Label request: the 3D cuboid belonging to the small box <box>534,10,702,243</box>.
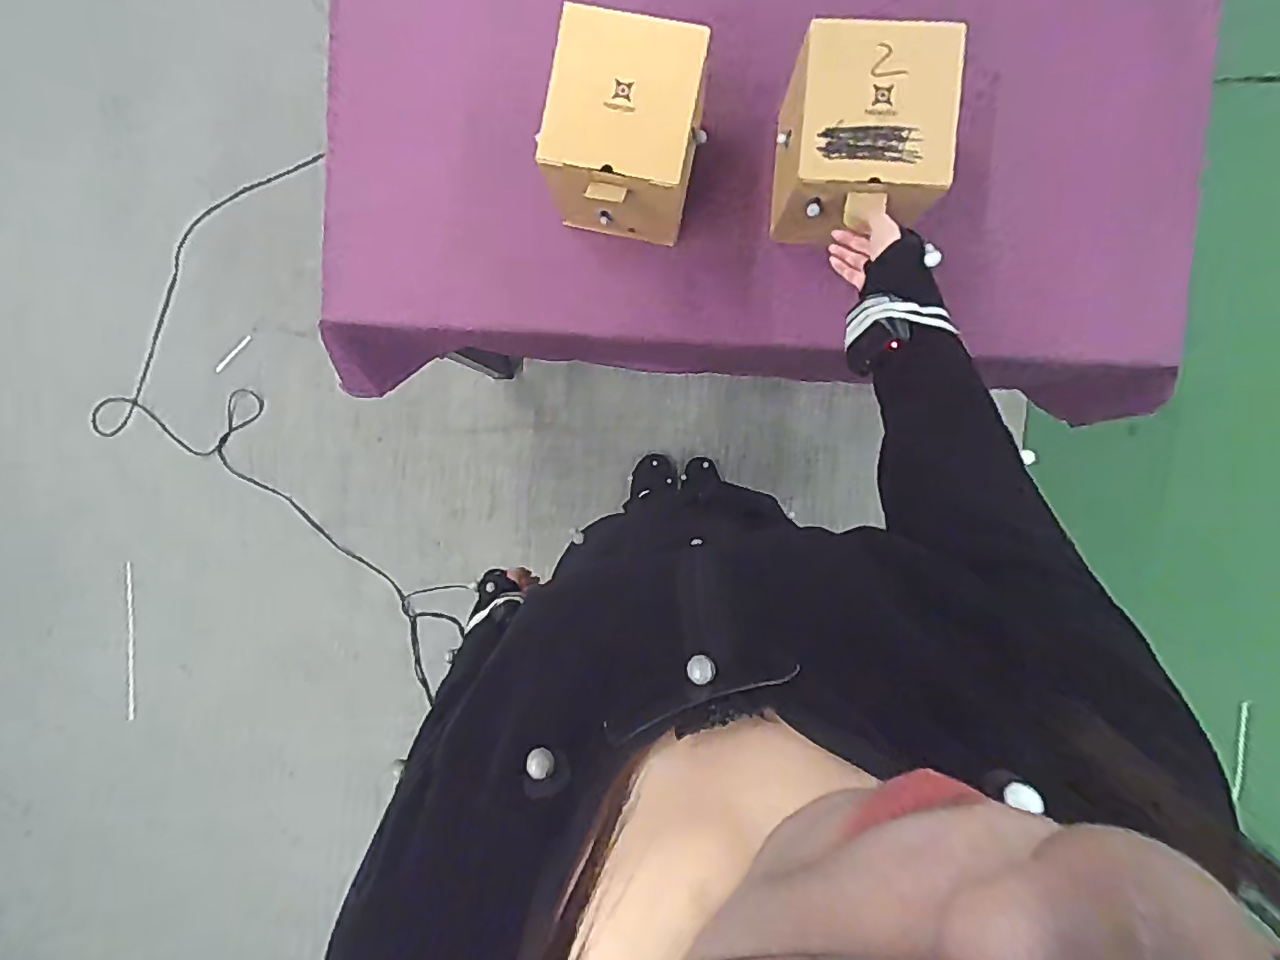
[{"bbox_3d":[-0.023,-0.434,0.692,0.168,0.176,0.179,11,94,2],"label":"small box"}]
